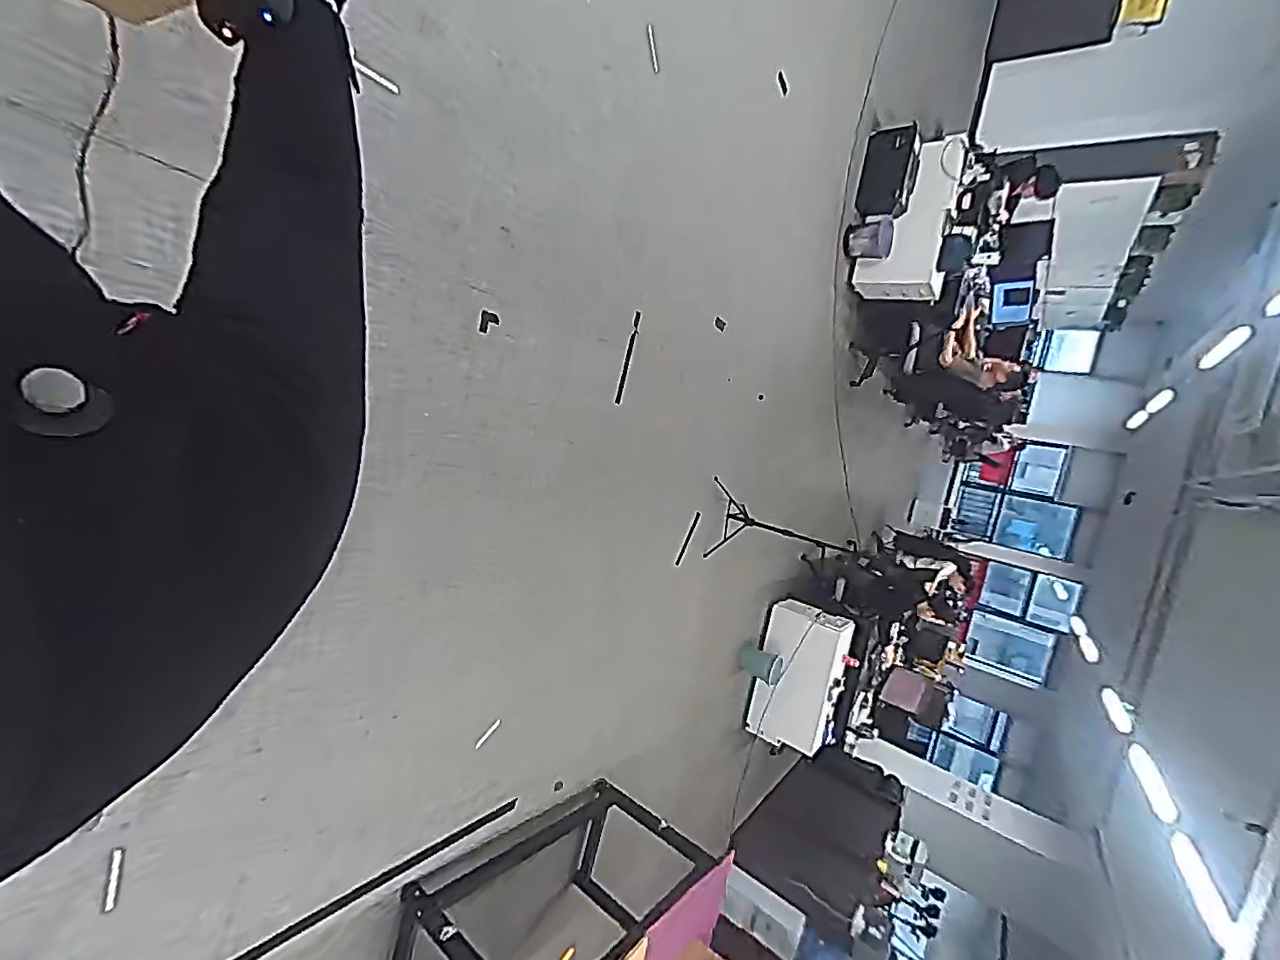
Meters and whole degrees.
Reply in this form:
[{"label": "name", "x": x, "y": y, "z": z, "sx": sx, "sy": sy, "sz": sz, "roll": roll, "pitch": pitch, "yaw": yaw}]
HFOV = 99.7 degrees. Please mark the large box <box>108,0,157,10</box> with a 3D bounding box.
[{"label": "large box", "x": -0.483, "y": -0.566, "z": 0.286, "sx": 0.408, "sy": 0.320, "sz": 0.320, "roll": -2, "pitch": 113, "yaw": -55}]
